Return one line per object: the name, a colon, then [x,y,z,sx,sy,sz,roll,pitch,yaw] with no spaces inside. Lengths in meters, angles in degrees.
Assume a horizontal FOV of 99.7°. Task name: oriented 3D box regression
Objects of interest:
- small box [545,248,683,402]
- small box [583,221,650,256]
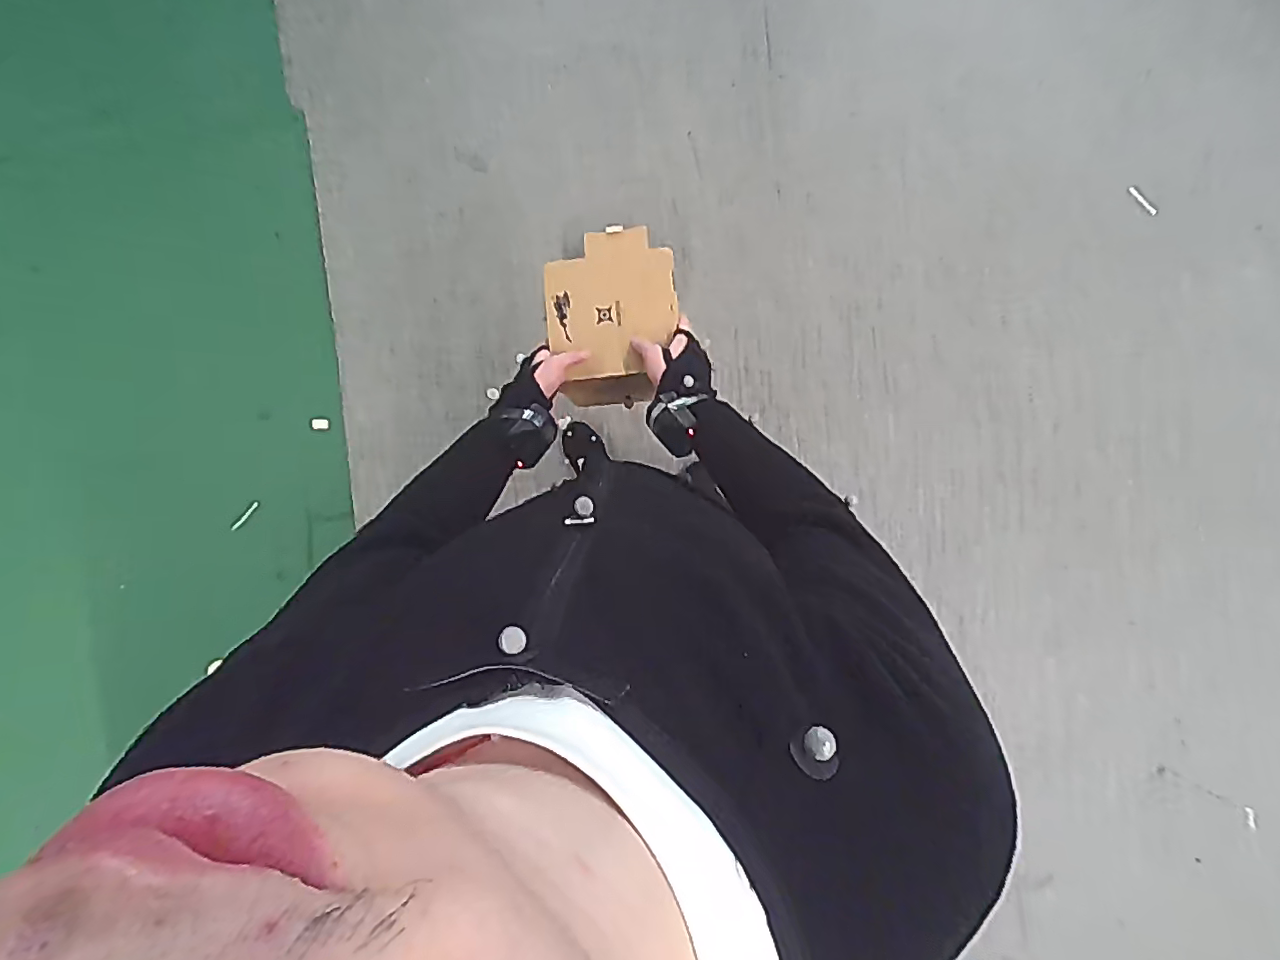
small box: [-0.031,-0.215,0.792,0.179,0.176,0.168,-5,86,5]
small box: [-0.054,-0.564,1.443,0.168,0.176,0.179,-3,94,5]
